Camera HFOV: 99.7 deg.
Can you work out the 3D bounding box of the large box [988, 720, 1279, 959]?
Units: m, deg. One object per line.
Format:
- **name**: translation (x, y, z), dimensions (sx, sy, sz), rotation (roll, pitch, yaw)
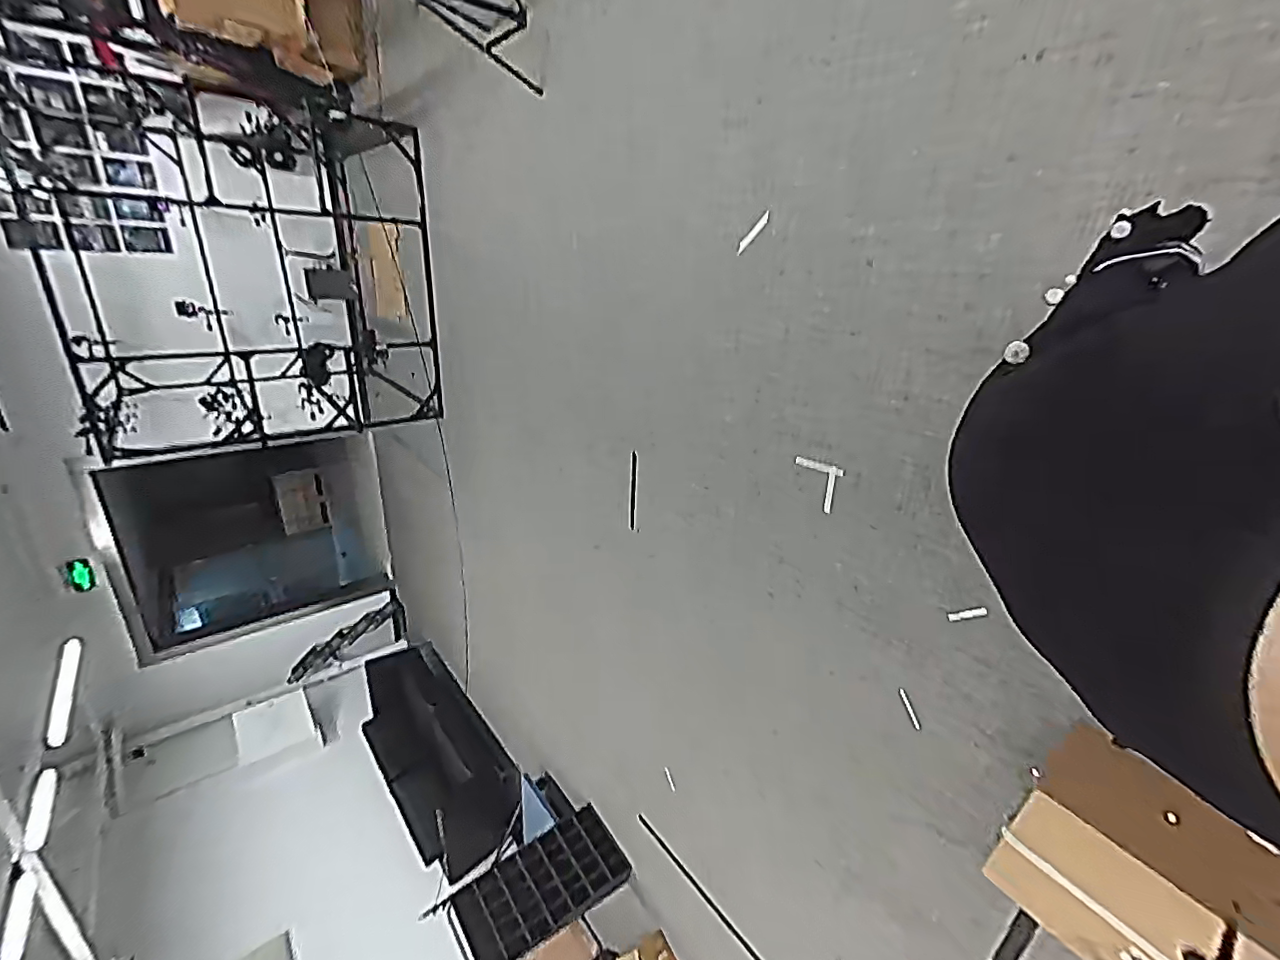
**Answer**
- **large box**: translation (1.071, 0.822, 1.168), dimensions (0.408, 0.320, 0.320), rotation (32, 126, 41)
